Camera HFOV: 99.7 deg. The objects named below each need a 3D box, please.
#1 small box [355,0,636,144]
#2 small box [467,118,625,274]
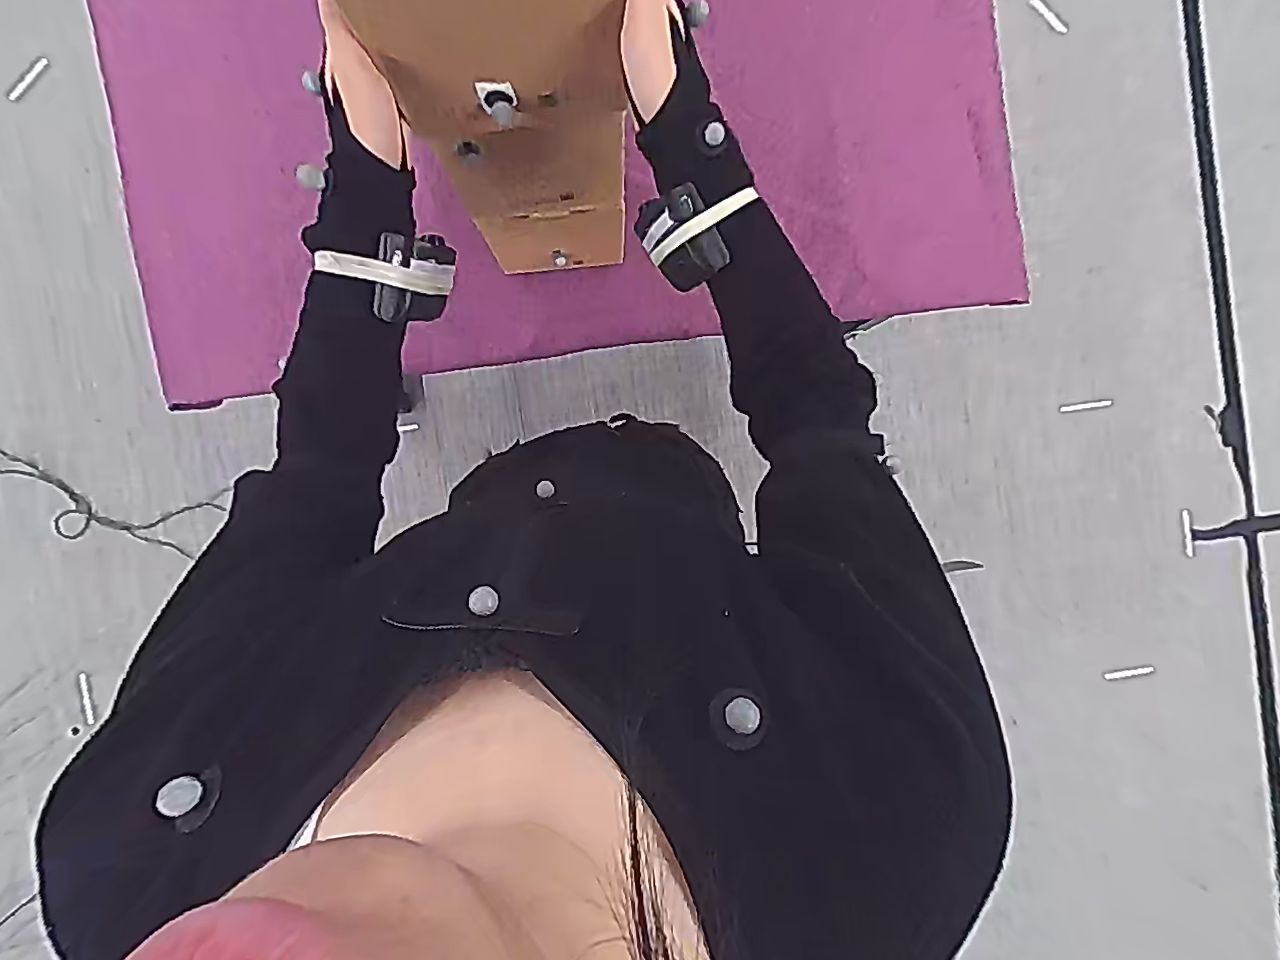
[{"bbox_3d":[-0.098,-0.357,0.341,0.168,0.176,0.179,-11,92,-1],"label":"small box"},{"bbox_3d":[-0.111,-0.376,0.668,0.168,0.176,0.179,-6,92,-2],"label":"small box"}]
